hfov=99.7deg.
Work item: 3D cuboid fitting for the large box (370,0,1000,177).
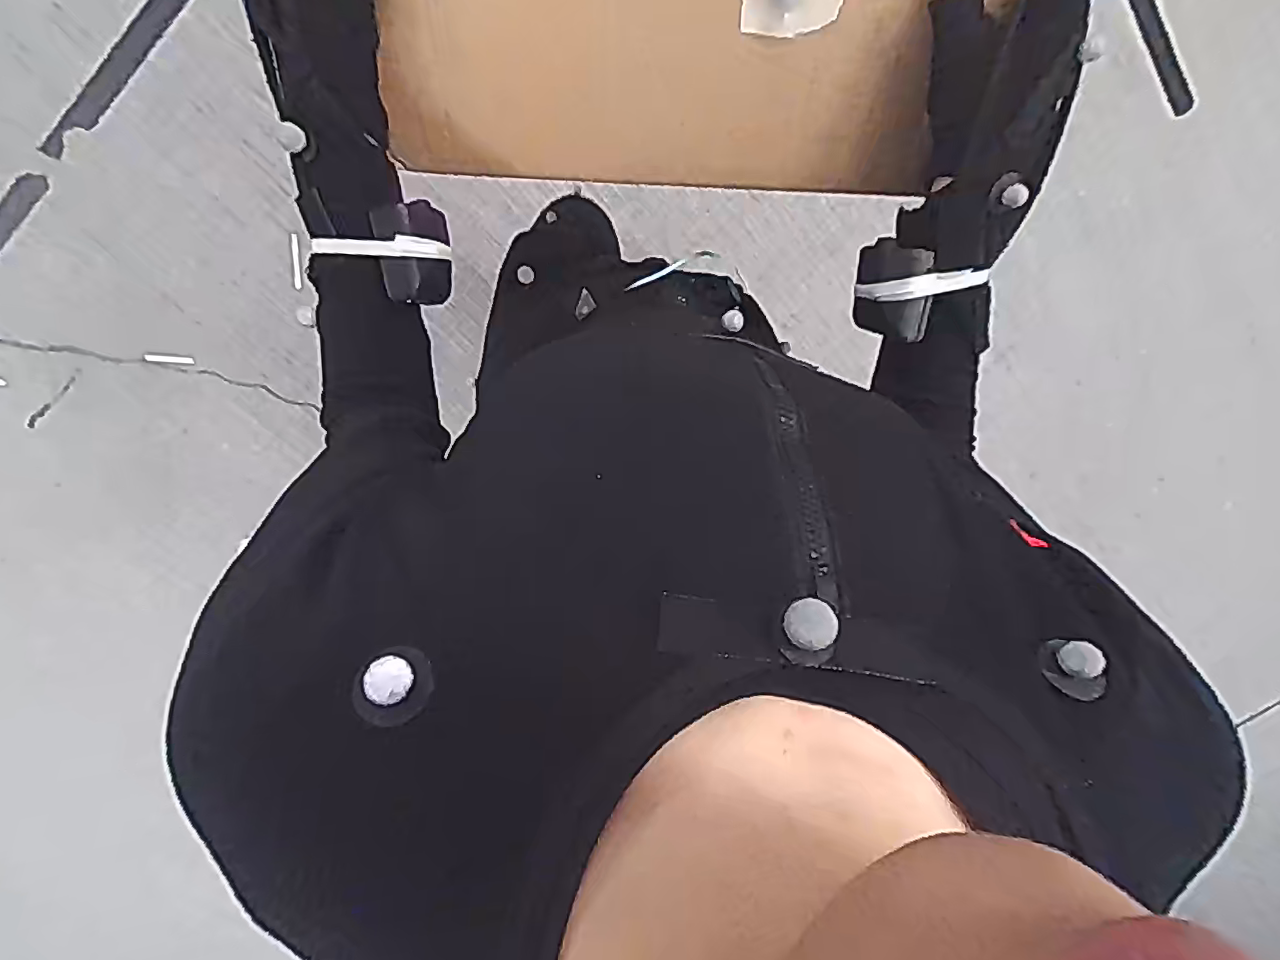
[{"bbox_3d":[0.031,-0.446,0.404,0.408,0.320,0.320,3,136,1],"label":"large box"}]
